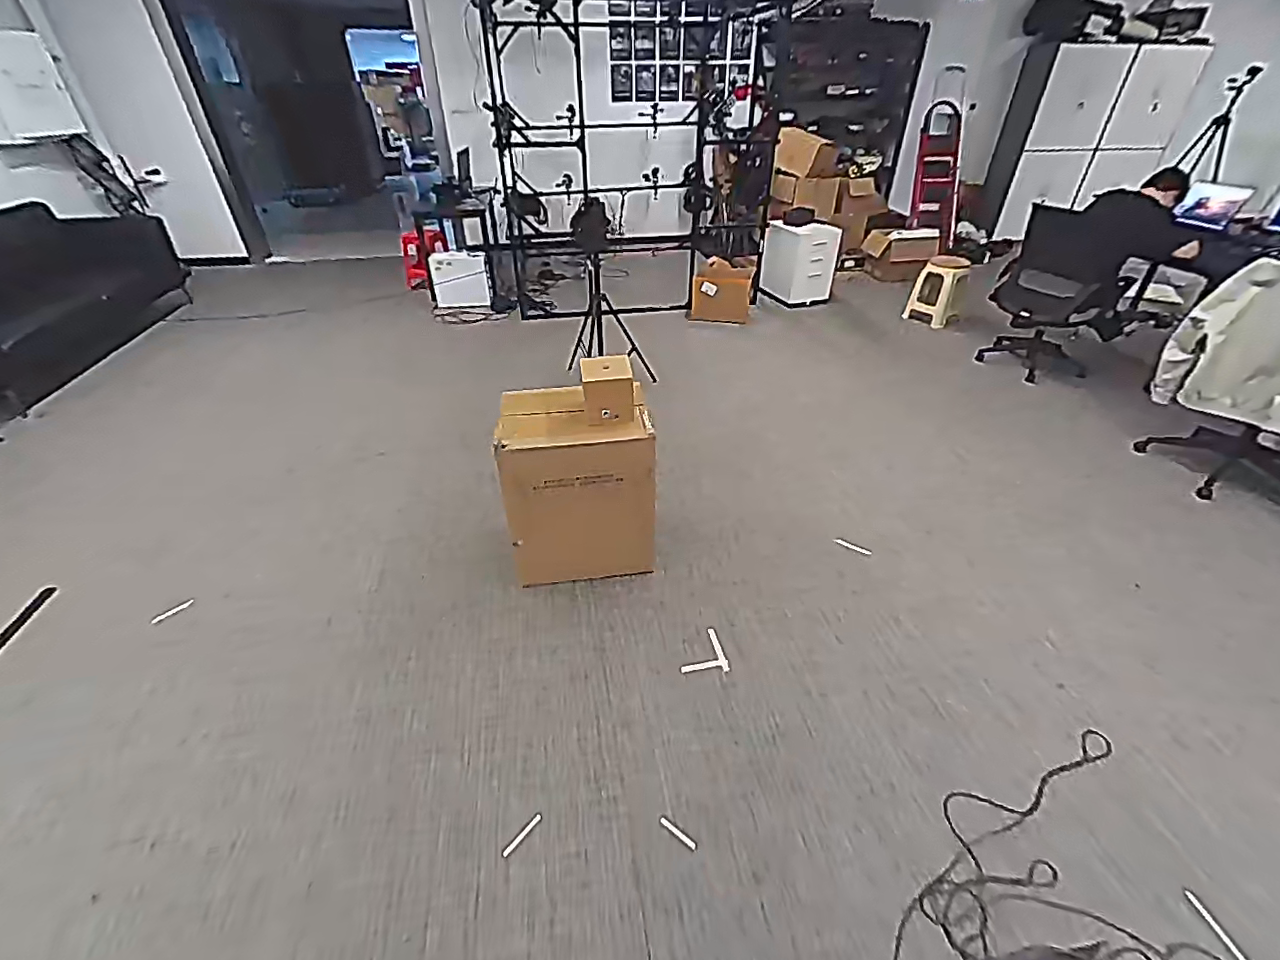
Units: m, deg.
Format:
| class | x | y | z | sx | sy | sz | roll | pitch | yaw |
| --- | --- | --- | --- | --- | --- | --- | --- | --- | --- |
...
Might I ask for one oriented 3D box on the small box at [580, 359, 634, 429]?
| class | x | y | z | sx | sy | sz | roll | pitch | yaw |
| --- | --- | --- | --- | --- | --- | --- | --- | --- | --- |
| small box | -0.112 | -0.294 | 1.846 | 0.168 | 0.176 | 0.179 | -7 | 39 | -6 |
